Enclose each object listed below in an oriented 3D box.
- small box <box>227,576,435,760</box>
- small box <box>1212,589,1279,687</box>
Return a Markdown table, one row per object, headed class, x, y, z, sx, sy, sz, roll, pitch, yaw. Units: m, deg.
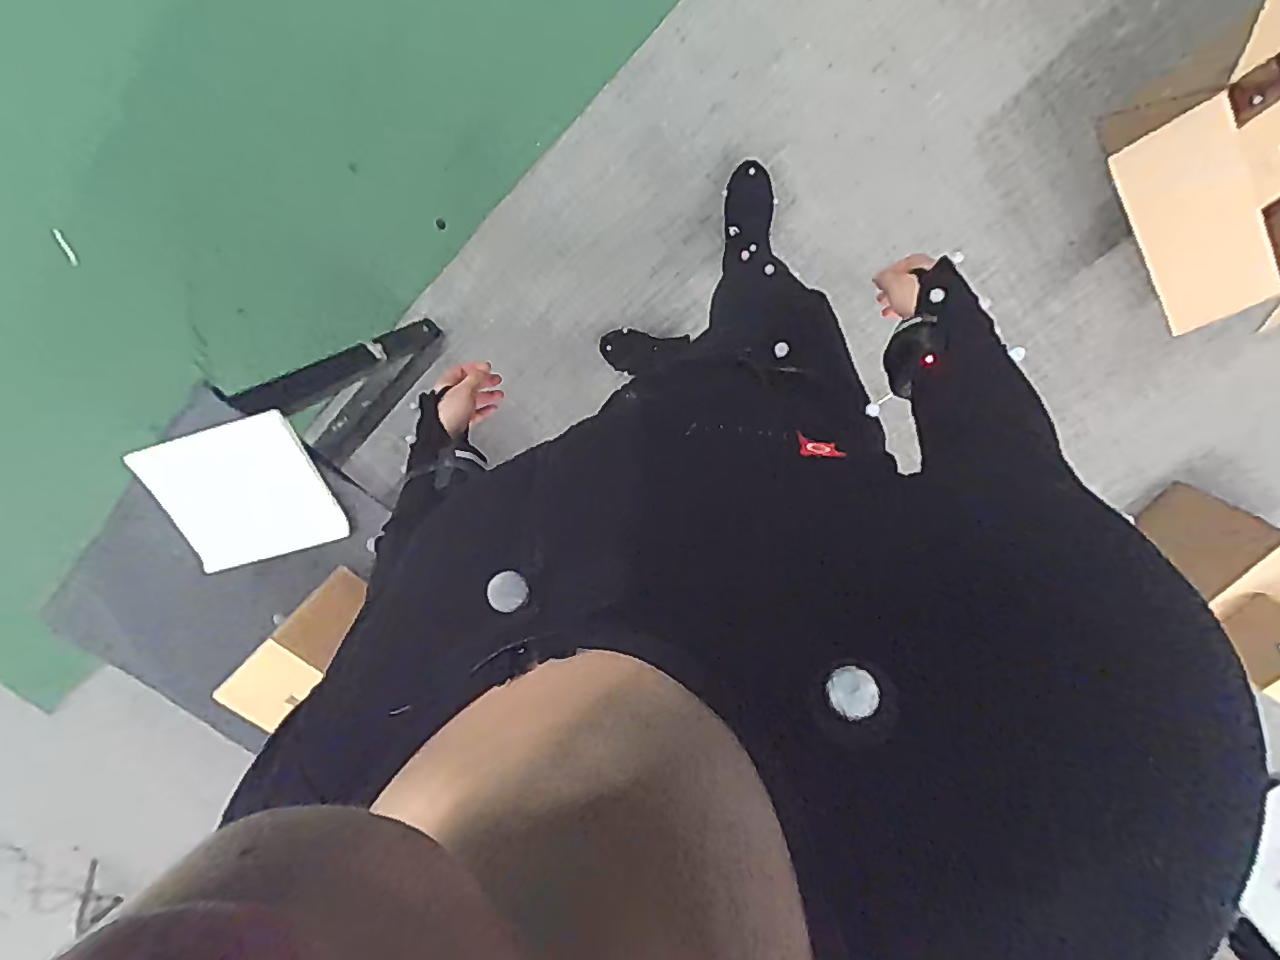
| class | x | y | z | sx | sy | sz | roll | pitch | yaw |
| --- | --- | --- | --- | --- | --- | --- | --- | --- | --- |
| small box | -0.449 | 0.270 | 0.812 | 0.168 | 0.176 | 0.179 | -40 | 108 | 20 |
| small box | 1.486 | 0.378 | 1.219 | 0.168 | 0.176 | 0.179 | 28 | 113 | -8 |
